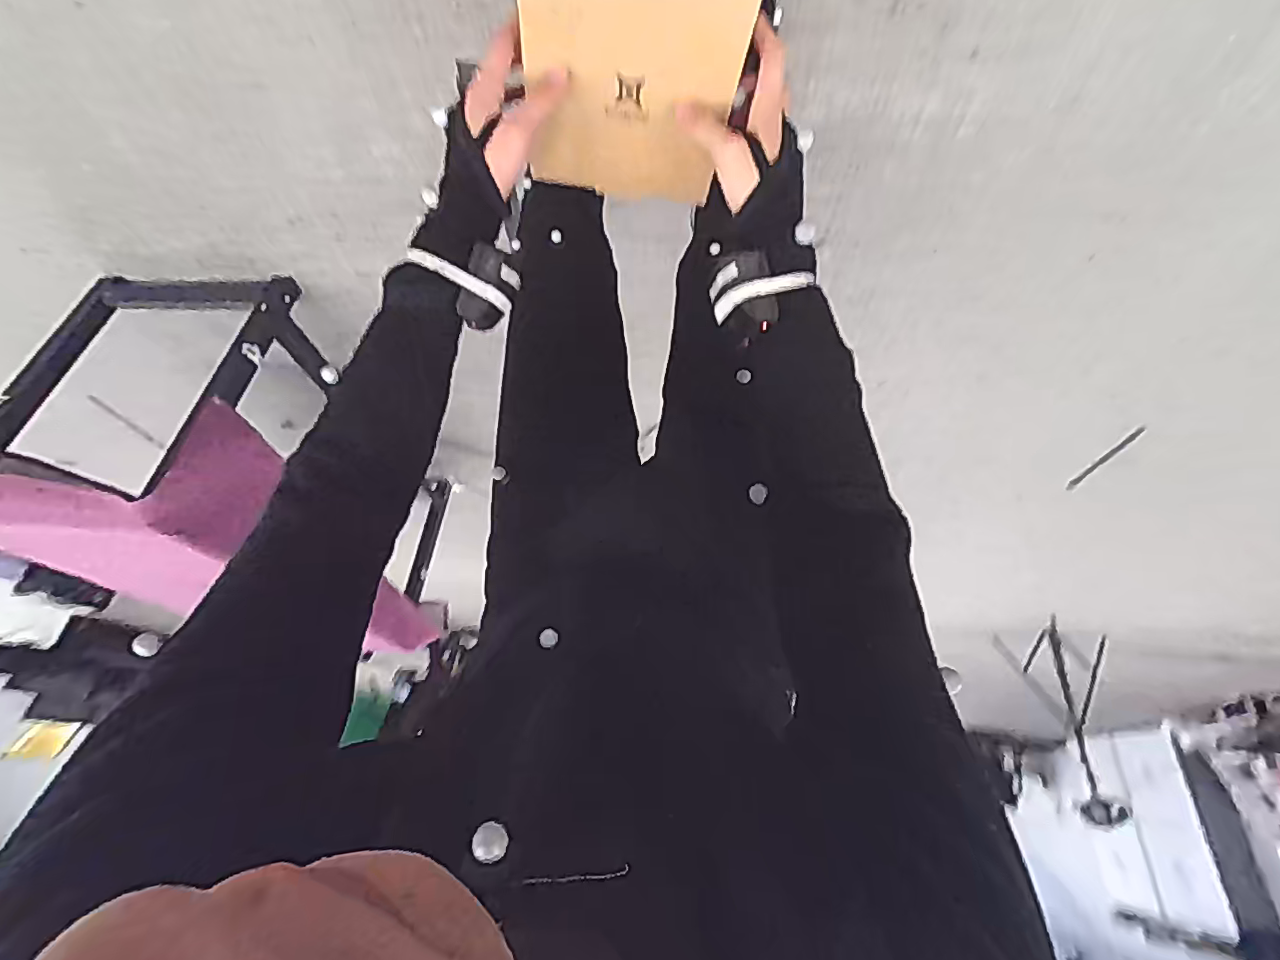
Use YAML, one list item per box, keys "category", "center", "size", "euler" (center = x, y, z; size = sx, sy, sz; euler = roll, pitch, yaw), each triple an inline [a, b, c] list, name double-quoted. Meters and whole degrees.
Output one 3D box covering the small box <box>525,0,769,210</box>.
- category: "small box"
  center: [0.002, -0.368, 0.452]
  size: [0.168, 0.176, 0.179]
  euler: [7, 159, -3]
